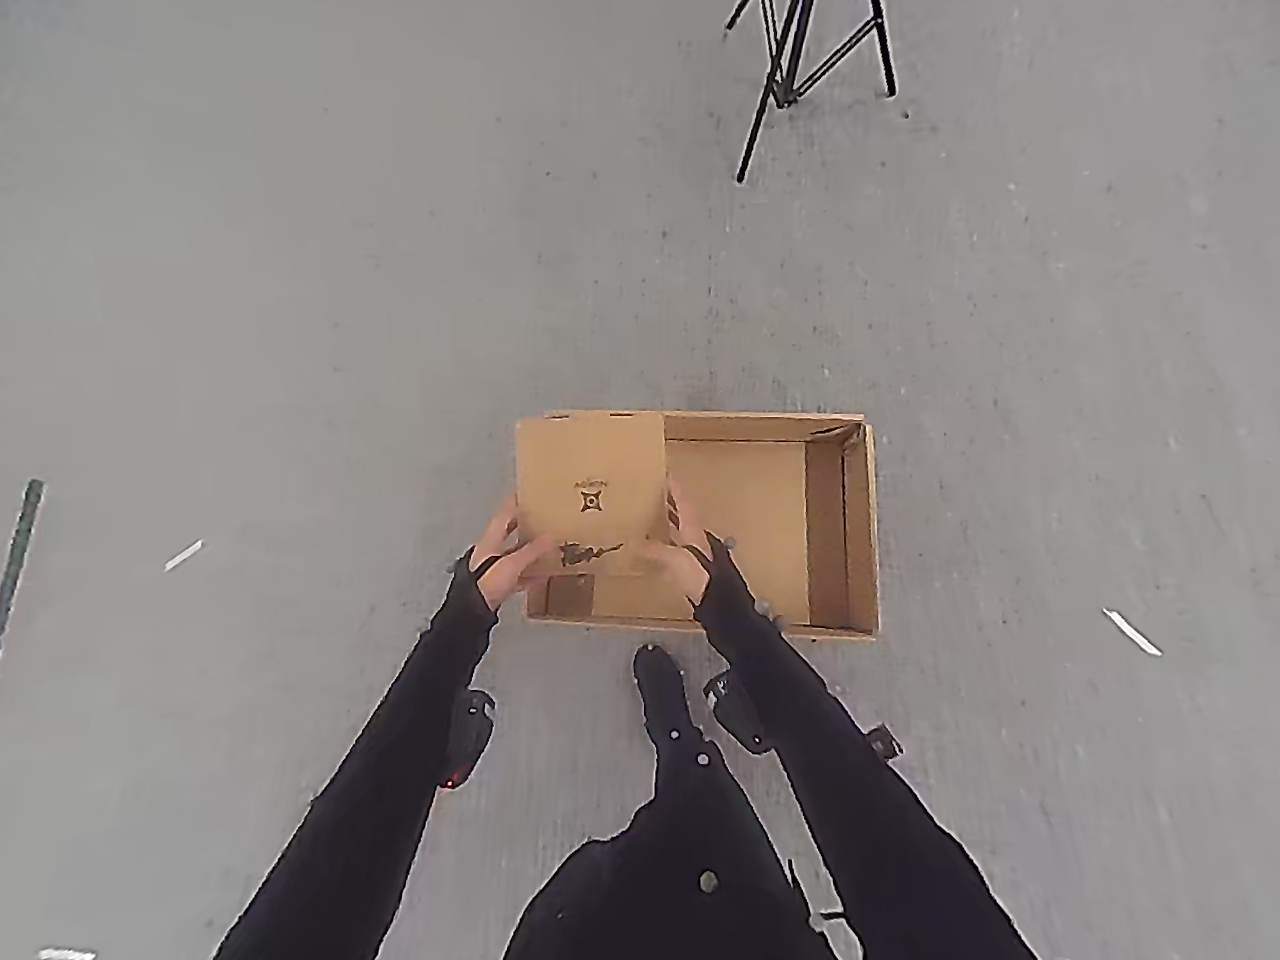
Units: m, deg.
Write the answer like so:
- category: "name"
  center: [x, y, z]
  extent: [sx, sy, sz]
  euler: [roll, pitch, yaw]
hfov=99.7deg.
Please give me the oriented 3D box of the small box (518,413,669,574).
- category: "small box"
  center: [-0.053, 0.023, 0.671]
  extent: [0.168, 0.176, 0.179]
  euler: [-2, 84, 0]
